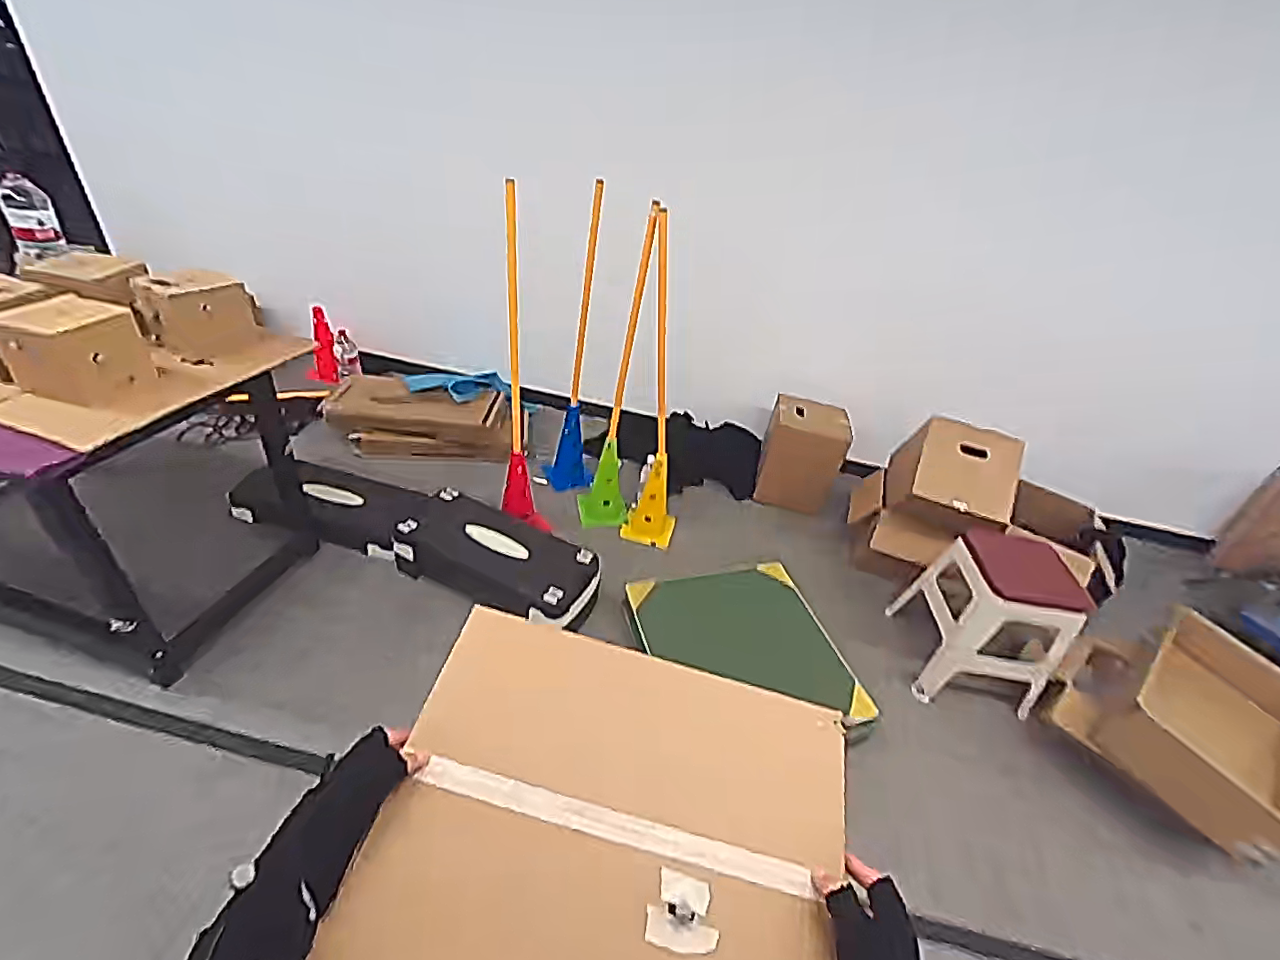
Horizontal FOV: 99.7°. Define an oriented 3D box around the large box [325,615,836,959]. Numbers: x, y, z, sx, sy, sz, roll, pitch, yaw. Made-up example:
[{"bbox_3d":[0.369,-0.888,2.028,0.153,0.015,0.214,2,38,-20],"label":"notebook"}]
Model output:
[{"bbox_3d":[-0.039,0.401,0.602,0.408,0.320,0.320,15,50,2],"label":"large box"}]
